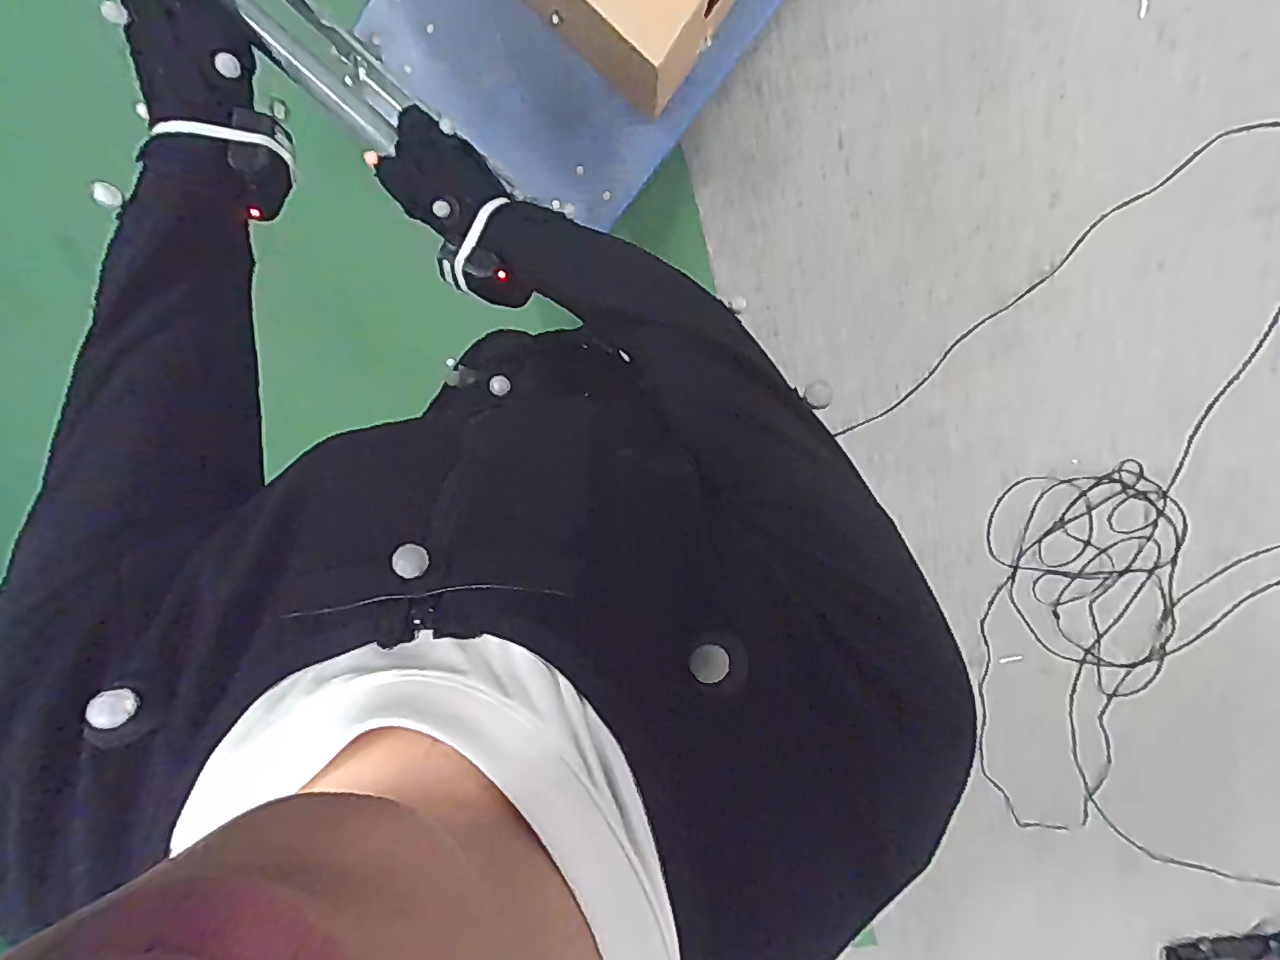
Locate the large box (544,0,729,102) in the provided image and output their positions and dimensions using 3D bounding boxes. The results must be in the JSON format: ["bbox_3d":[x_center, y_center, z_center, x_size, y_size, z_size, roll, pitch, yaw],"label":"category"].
[{"bbox_3d":[-0.028,-0.890,0.824,0.408,0.320,0.320,36,108,-13],"label":"large box"}]
